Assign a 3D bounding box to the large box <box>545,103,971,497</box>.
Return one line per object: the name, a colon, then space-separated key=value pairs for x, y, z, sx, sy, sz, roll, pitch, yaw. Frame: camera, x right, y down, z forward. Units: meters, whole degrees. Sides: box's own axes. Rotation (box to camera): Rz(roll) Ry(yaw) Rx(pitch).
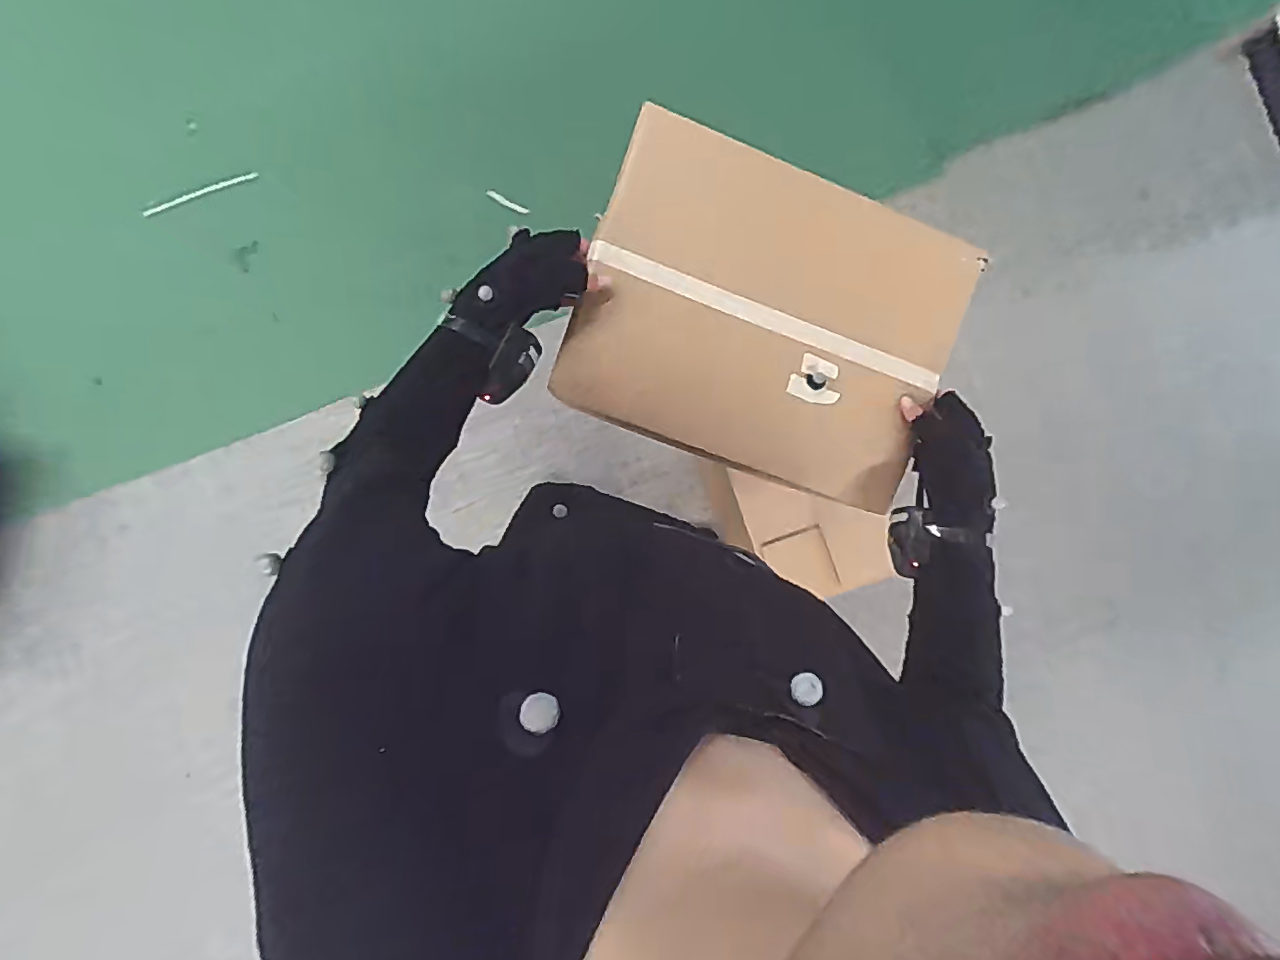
large box: x=0.115 y=-0.193 z=0.722 sx=0.408 sy=0.320 sz=0.320 roll=19 pitch=93 yaw=-7
